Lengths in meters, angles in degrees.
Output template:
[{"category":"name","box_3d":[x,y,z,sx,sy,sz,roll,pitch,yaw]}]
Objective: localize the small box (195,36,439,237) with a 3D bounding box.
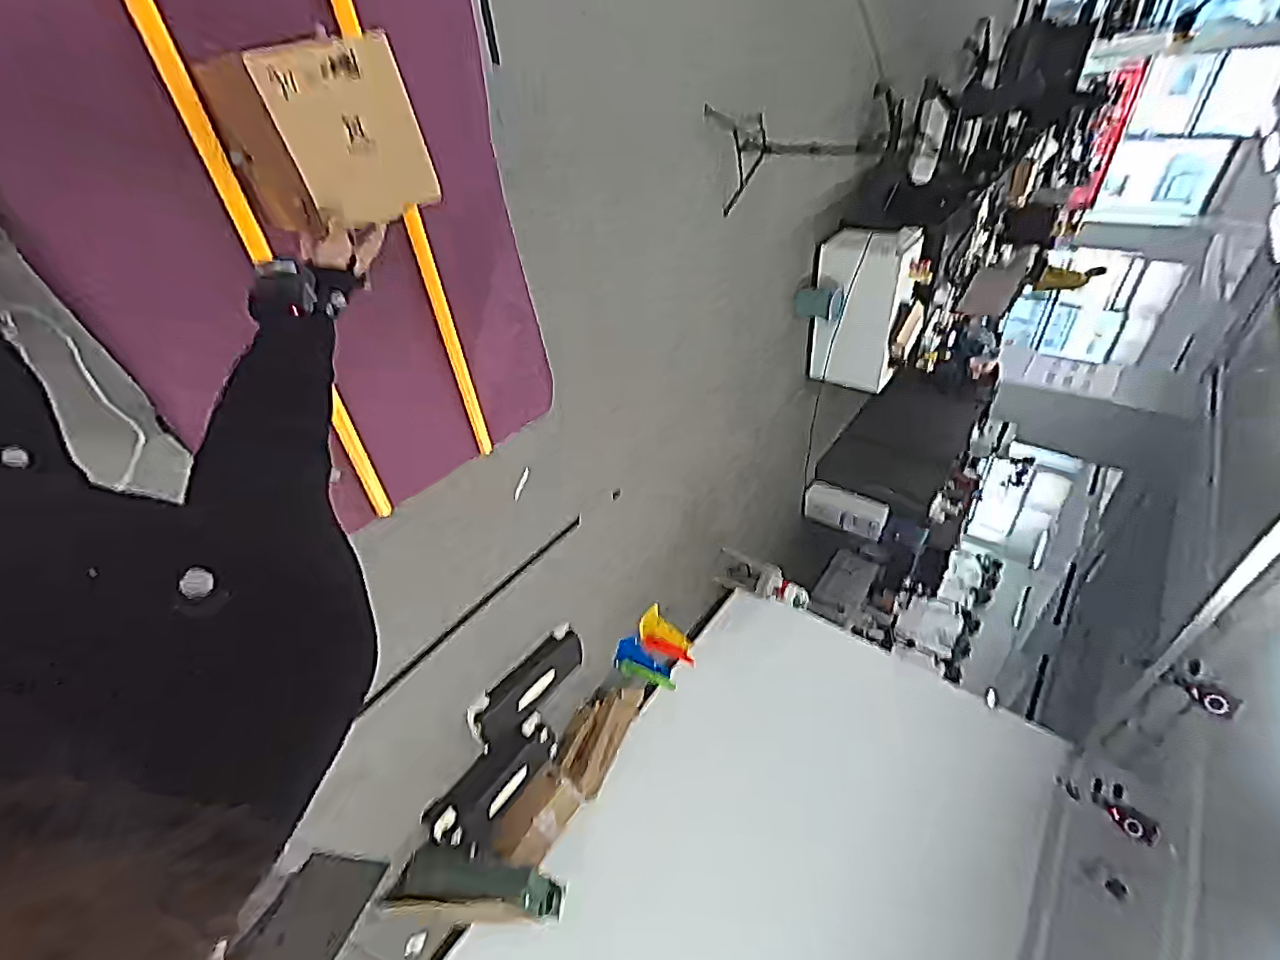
[{"category":"small box","box_3d":[-0.392,-0.427,0.673,0.168,0.176,0.179,-43,141,-32]}]
